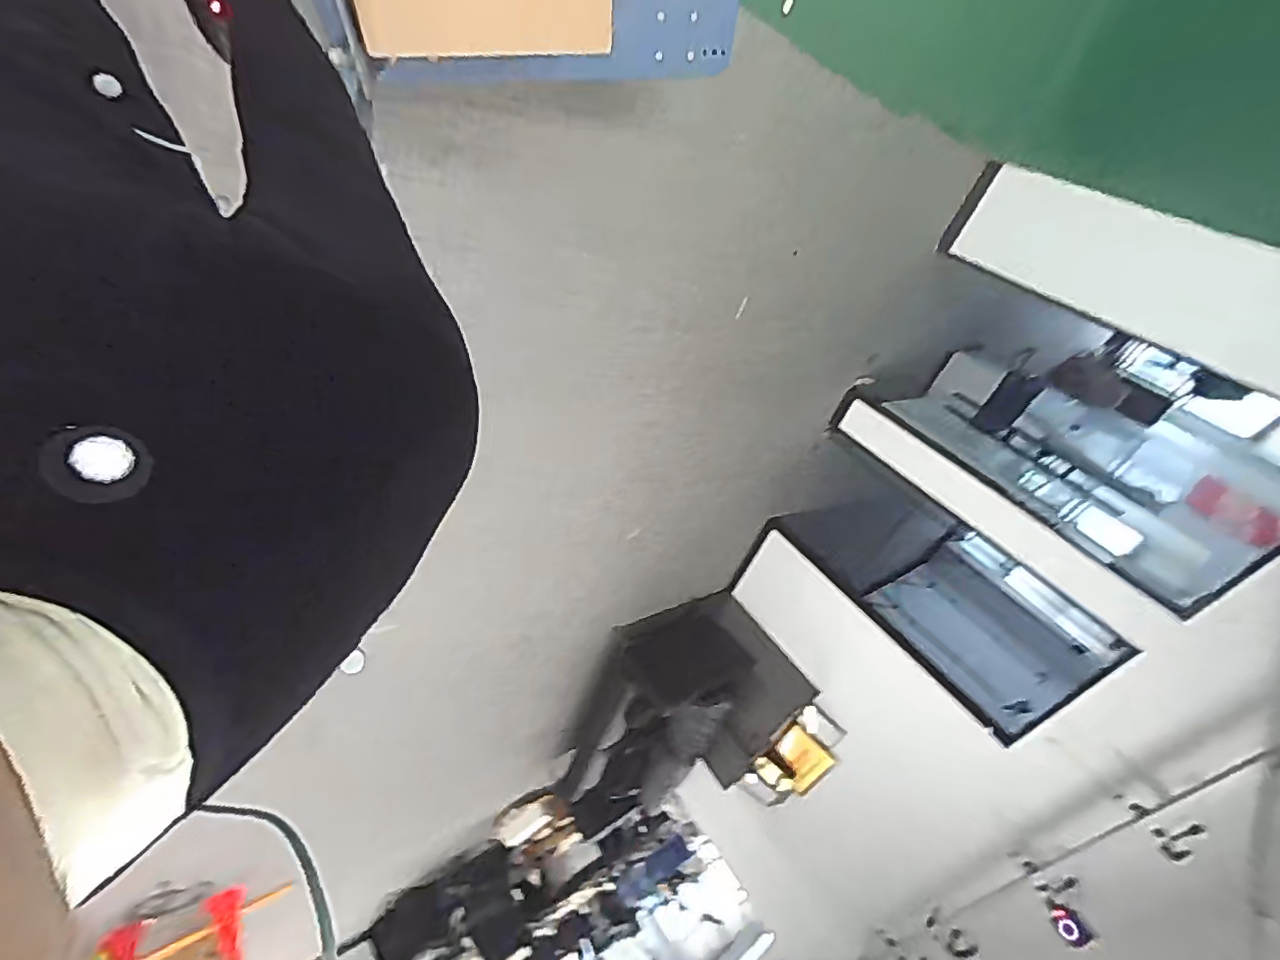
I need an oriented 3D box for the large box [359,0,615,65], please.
[{"bbox_3d":[-0.279,-0.909,0.885,0.408,0.320,0.320,-14,140,-16],"label":"large box"}]
